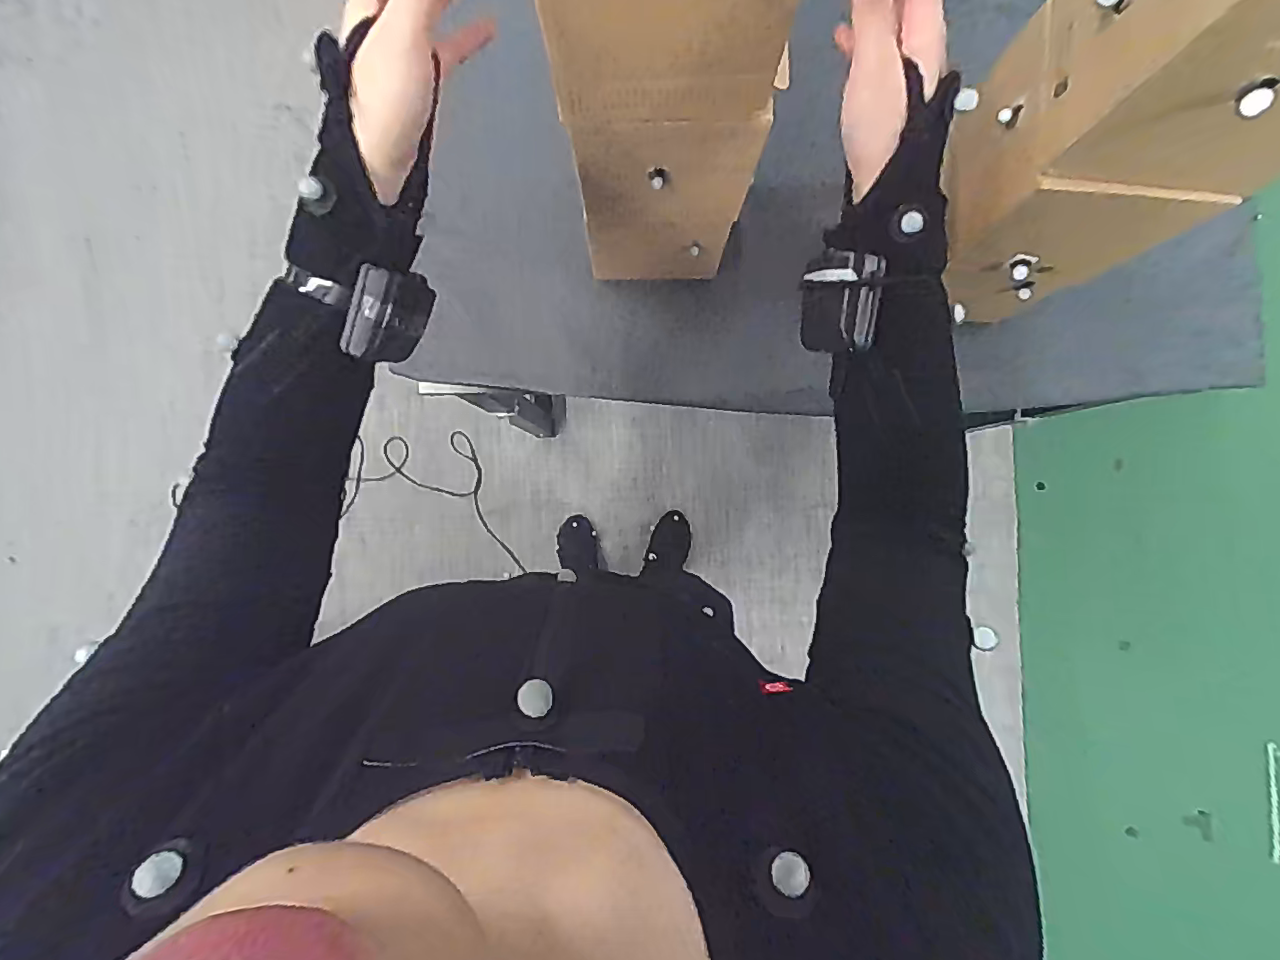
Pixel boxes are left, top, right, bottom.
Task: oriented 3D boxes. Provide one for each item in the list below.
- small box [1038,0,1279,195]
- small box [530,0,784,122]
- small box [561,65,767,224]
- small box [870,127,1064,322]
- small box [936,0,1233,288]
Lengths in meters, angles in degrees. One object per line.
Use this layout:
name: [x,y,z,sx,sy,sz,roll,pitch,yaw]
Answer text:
small box: [0.416,-0.323,0.368,0.179,0.176,0.168,8,87,2]
small box: [0.009,-0.382,0.375,0.179,0.176,0.168,-3,88,-1]
small box: [0.020,-0.375,0.538,0.179,0.176,0.168,0,88,1]
small box: [0.421,-0.312,0.694,0.179,0.176,0.168,4,87,1]
small box: [0.418,-0.312,0.532,0.168,0.176,0.179,6,88,2]
